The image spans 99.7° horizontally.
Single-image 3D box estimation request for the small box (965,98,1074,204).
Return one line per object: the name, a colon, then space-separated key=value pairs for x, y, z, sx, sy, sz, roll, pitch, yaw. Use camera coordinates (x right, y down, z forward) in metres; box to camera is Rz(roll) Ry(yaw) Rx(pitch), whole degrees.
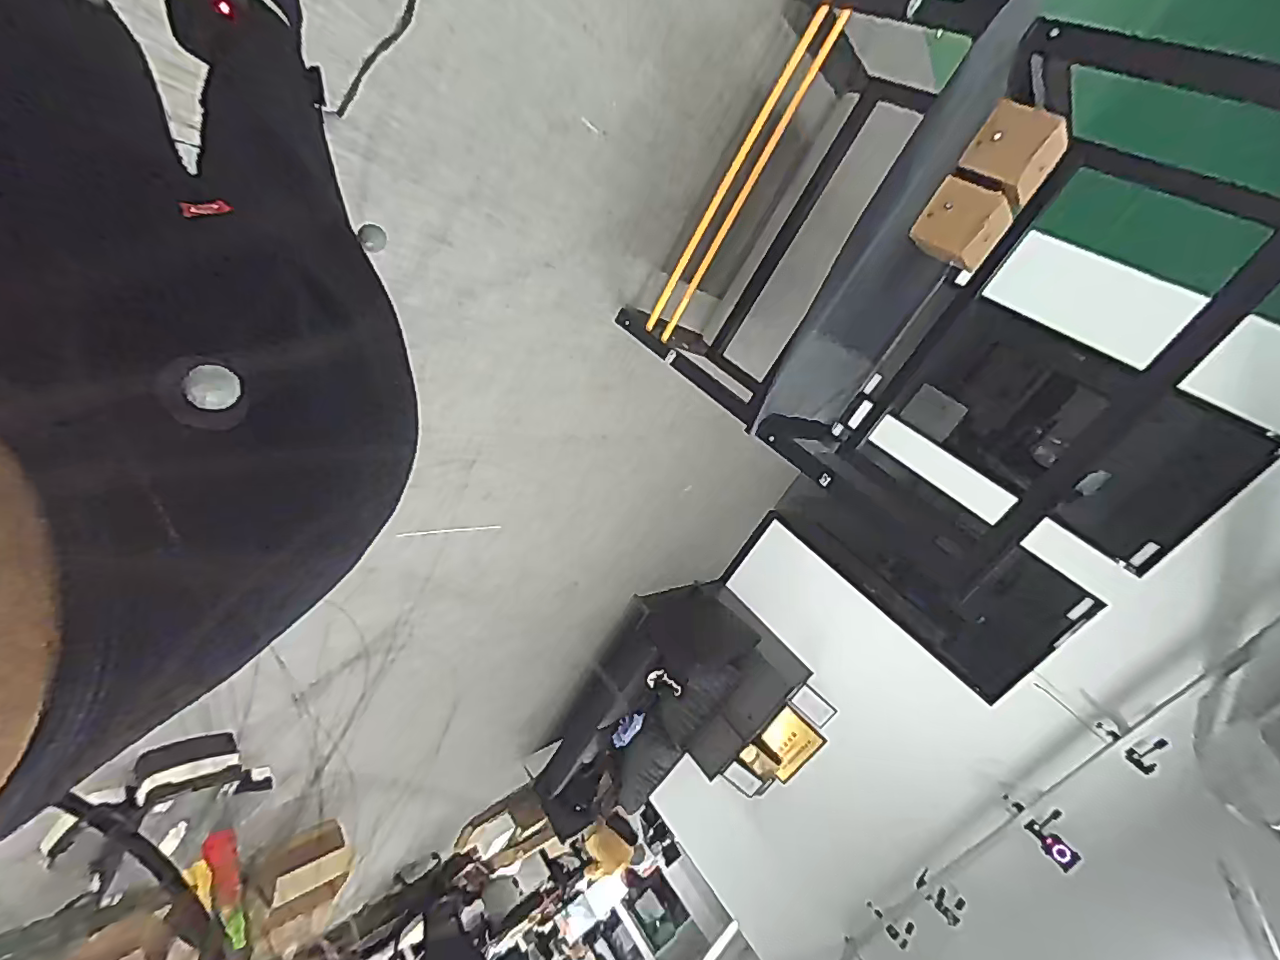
small box: x=1.002 y=-0.871 z=1.432 sx=0.179 sy=0.176 sz=0.168 roll=-3 pitch=130 yaw=-50
